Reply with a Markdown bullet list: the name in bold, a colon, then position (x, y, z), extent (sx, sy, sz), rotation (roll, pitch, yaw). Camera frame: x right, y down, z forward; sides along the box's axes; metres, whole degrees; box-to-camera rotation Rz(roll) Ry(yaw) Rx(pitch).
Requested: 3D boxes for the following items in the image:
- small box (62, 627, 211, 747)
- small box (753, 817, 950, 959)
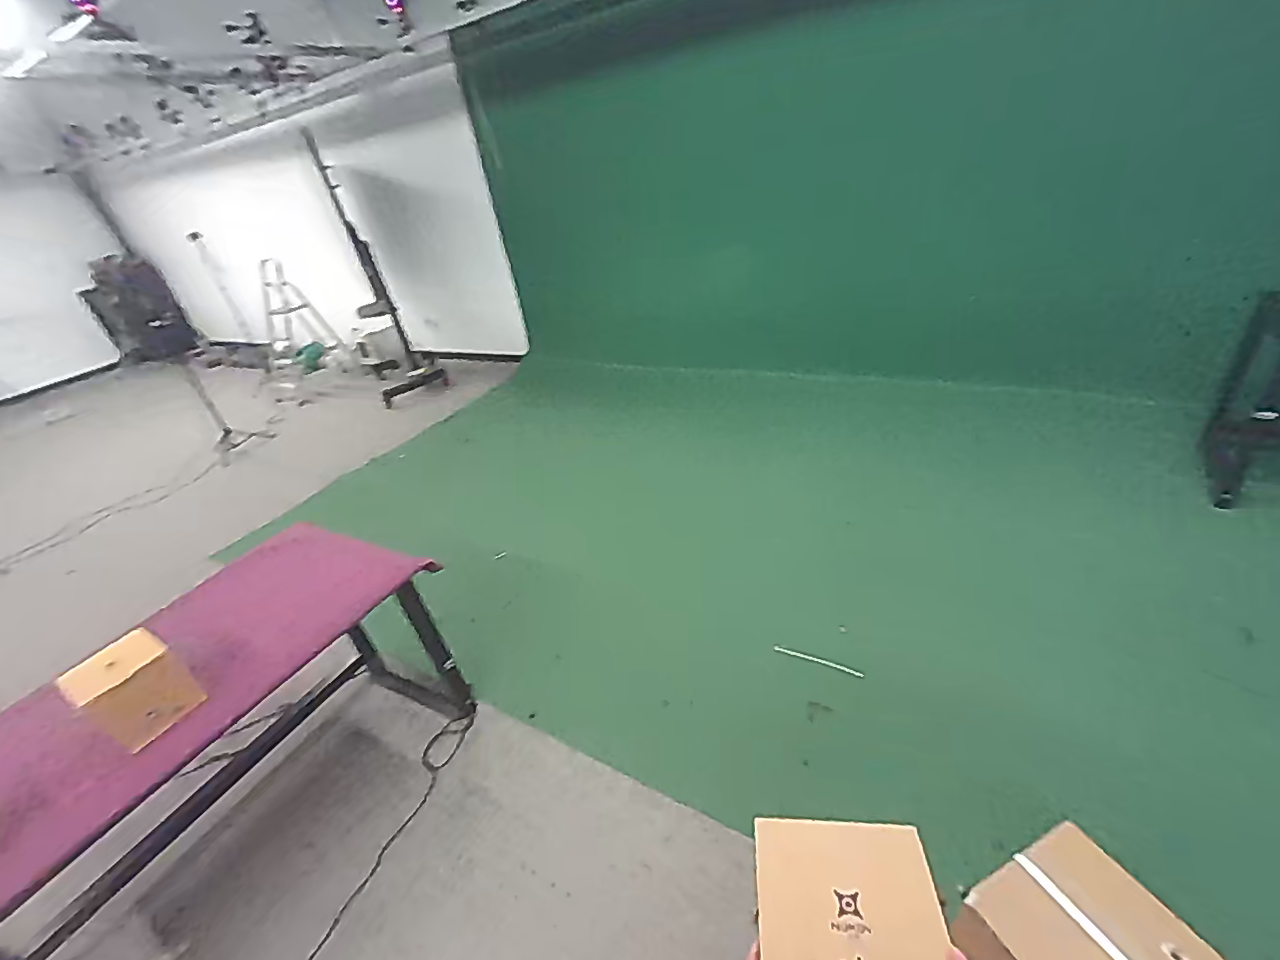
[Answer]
- **small box**: position (-1.144, 0.472, 1.236), extent (0.179, 0.176, 0.168), rotation (11, 37, 30)
- **small box**: position (0.199, 0.472, 0.532), extent (0.168, 0.176, 0.179), rotation (-5, 26, 11)
